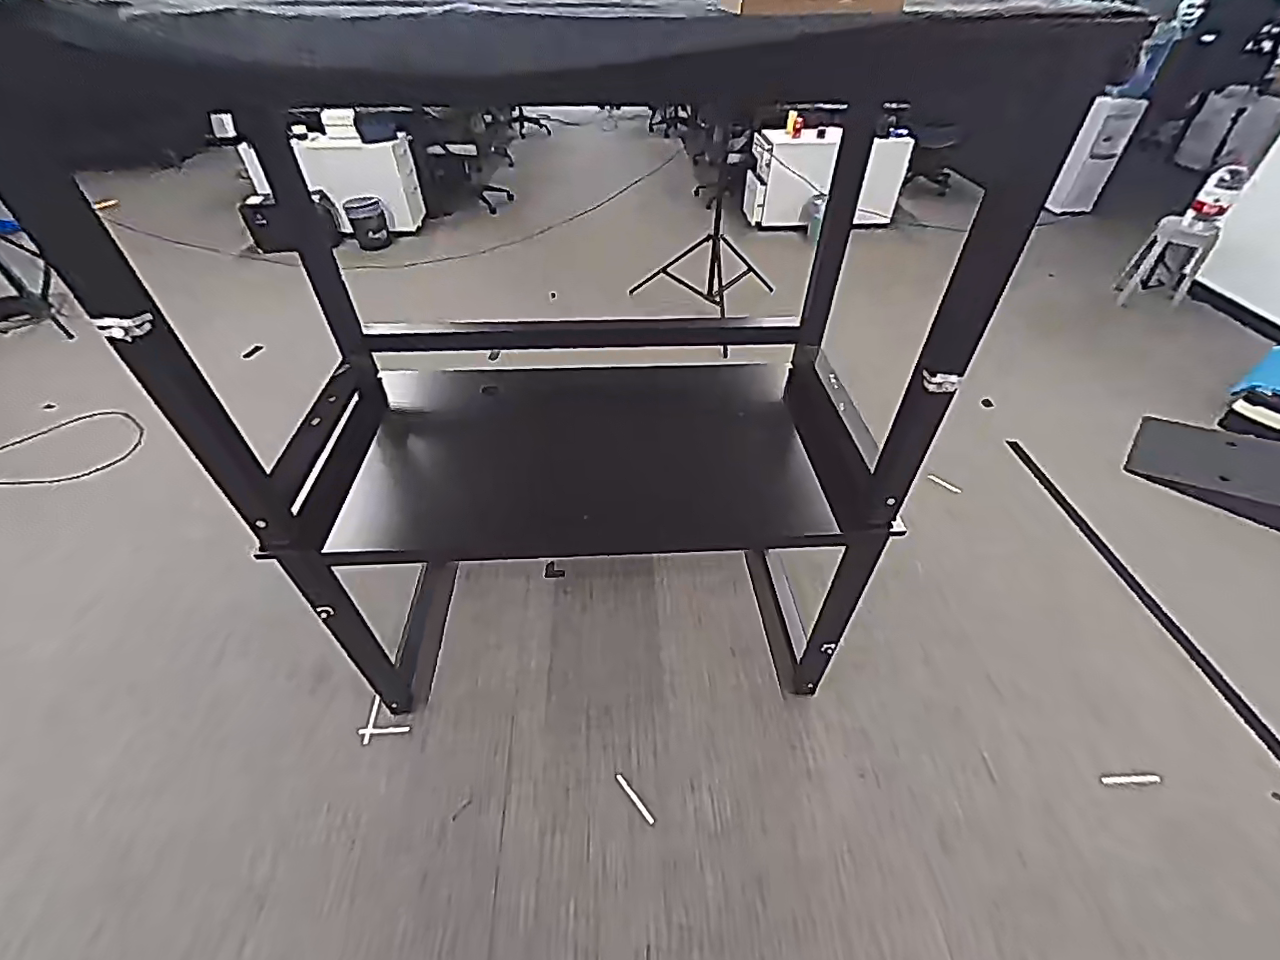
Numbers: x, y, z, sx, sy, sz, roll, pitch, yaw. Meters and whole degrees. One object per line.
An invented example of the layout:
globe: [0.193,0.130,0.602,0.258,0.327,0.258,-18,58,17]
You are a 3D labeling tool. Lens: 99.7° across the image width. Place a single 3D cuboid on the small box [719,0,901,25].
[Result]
small box: [0.178,-0.580,0.551,0.168,0.176,0.179,-2,43,-1]
